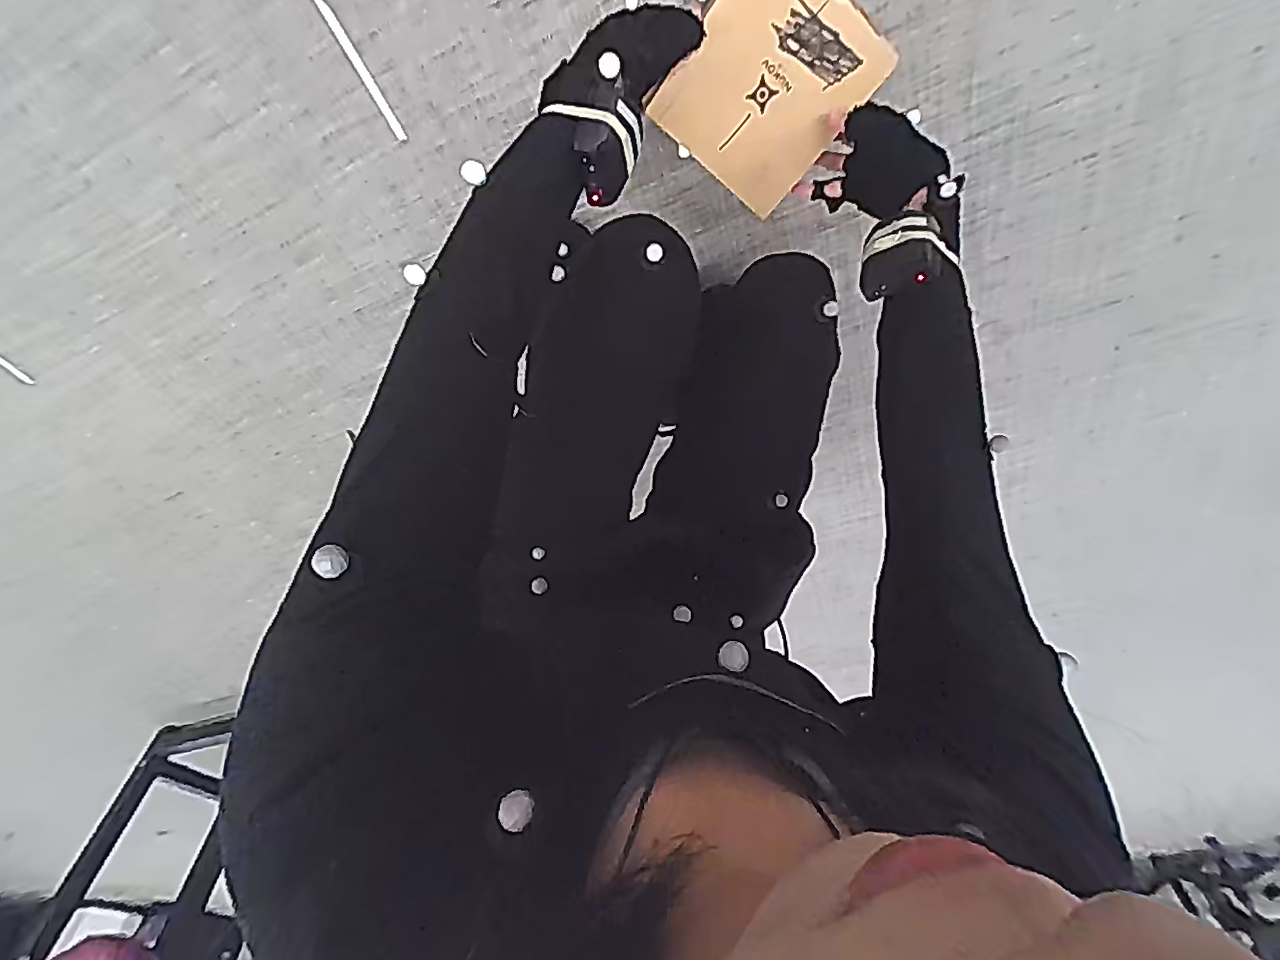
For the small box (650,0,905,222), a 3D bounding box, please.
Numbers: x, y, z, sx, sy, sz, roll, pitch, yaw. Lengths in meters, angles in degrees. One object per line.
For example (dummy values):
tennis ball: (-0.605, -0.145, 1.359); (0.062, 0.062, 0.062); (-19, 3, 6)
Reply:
small box: (0.121, -0.413, 0.551); (0.168, 0.176, 0.179); (29, 126, -26)
